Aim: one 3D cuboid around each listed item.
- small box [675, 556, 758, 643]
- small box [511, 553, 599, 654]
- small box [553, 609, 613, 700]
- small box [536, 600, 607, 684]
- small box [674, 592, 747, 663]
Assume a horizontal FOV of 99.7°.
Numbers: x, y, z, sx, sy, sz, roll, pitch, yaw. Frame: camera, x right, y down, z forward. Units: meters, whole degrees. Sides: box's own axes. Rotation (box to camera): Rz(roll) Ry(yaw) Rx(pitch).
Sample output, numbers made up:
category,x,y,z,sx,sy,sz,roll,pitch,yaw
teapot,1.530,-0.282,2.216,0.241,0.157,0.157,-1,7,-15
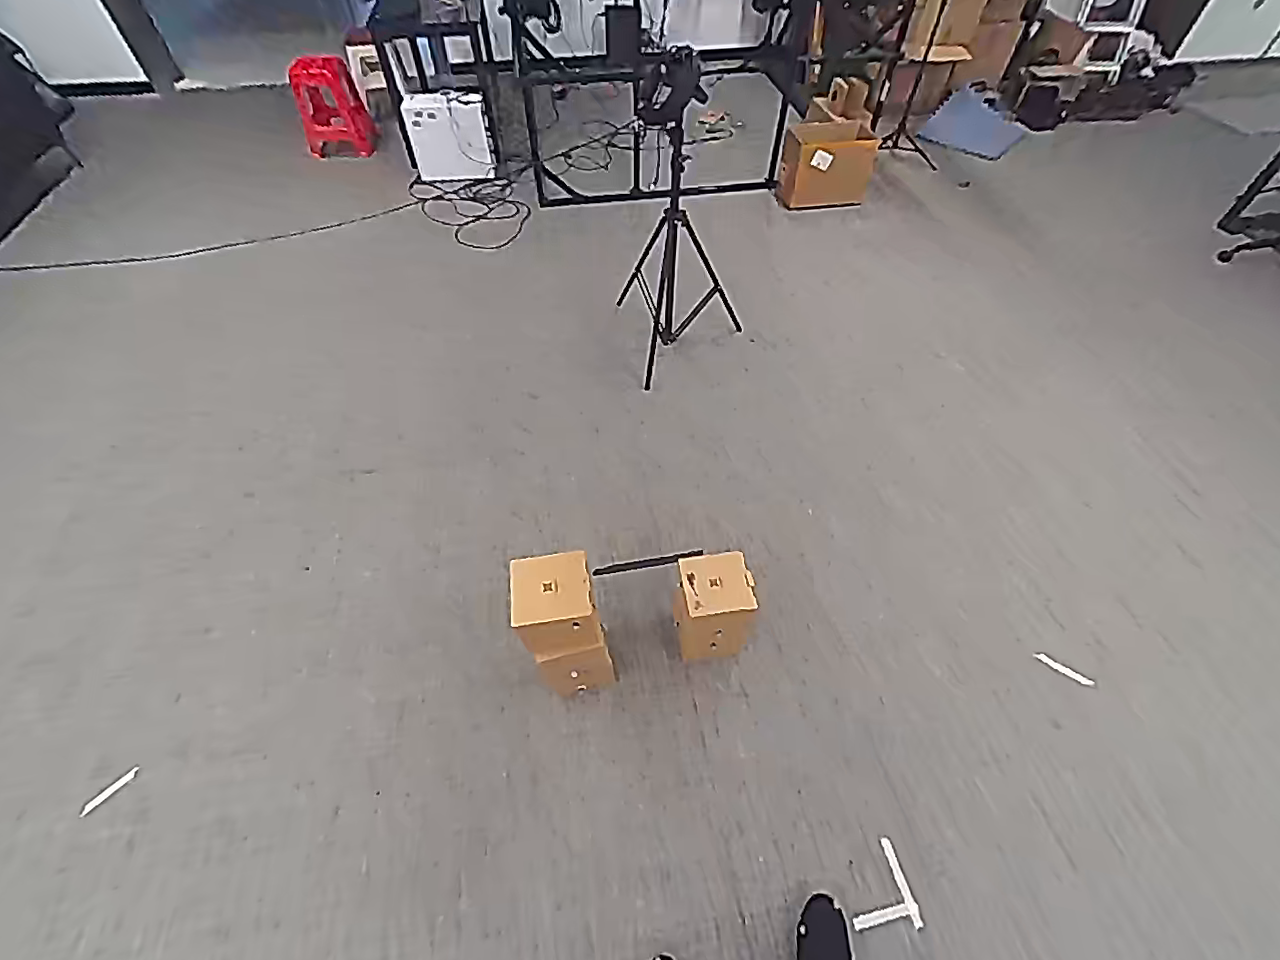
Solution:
category,x,y,z,sx,sy,sz,roll,pitch,yaw
small box,0.196,0.321,1.444,0.179,0.176,0.168,-5,52,-5
small box,-0.197,0.293,1.265,0.179,0.176,0.168,-7,53,-5
small box,-0.174,0.492,1.523,0.168,0.176,0.179,-13,54,-9
small box,-0.182,0.398,1.389,0.168,0.176,0.179,-12,54,-7
small box,0.197,0.421,1.575,0.179,0.176,0.168,-6,54,-6
